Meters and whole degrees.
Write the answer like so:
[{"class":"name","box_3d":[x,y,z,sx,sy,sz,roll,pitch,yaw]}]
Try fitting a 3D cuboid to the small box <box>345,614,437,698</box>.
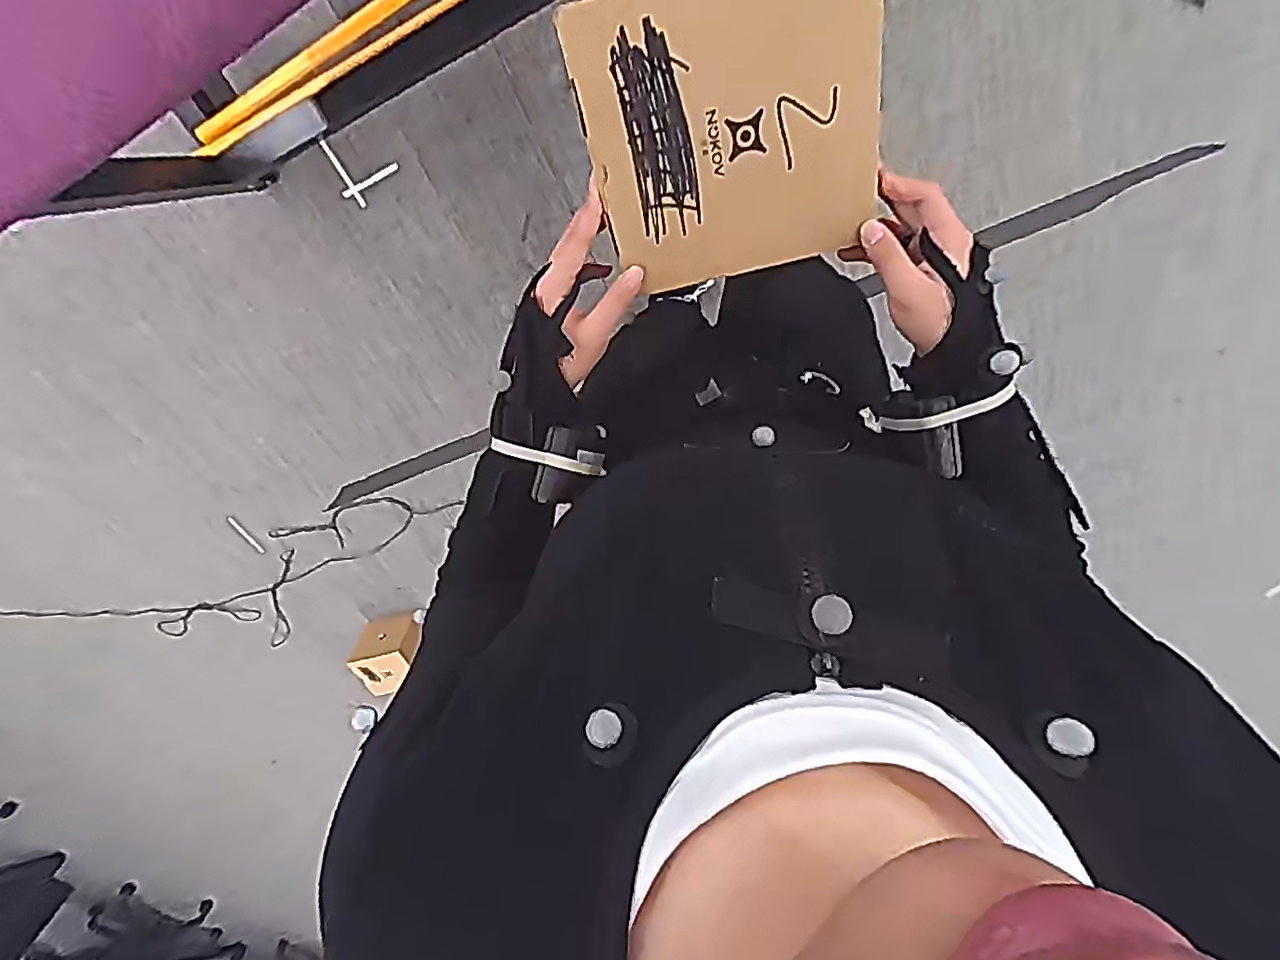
[{"class":"small box","box_3d":[-0.773,0.550,1.700,0.179,0.176,0.168,-15,121,7]}]
